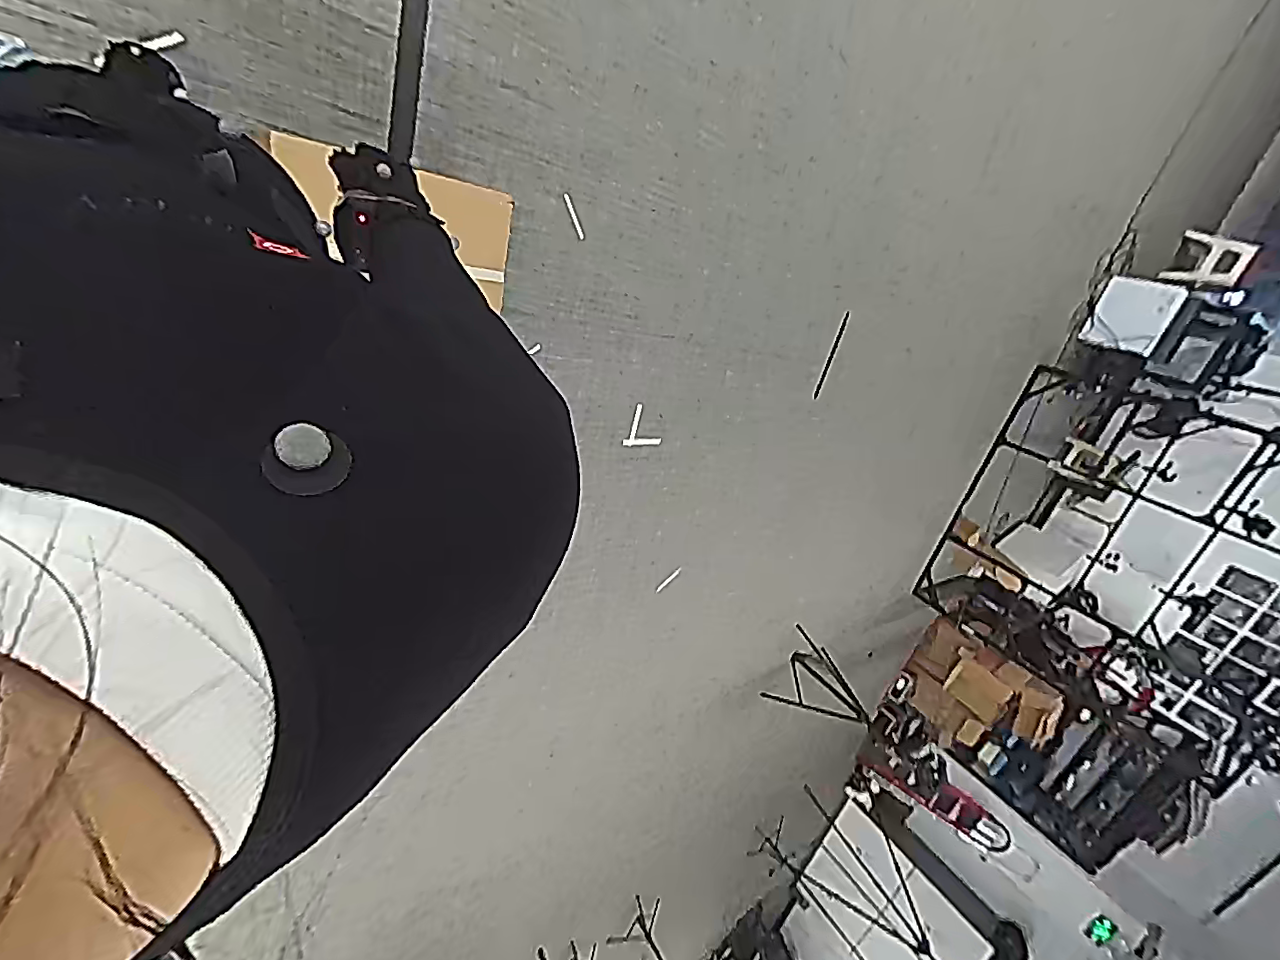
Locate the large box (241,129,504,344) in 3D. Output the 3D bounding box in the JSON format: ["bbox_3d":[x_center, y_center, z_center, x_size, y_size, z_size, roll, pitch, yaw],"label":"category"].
[{"bbox_3d":[-0.541,-0.481,1.097,0.408,0.320,0.320,-6,122,-38],"label":"large box"}]
